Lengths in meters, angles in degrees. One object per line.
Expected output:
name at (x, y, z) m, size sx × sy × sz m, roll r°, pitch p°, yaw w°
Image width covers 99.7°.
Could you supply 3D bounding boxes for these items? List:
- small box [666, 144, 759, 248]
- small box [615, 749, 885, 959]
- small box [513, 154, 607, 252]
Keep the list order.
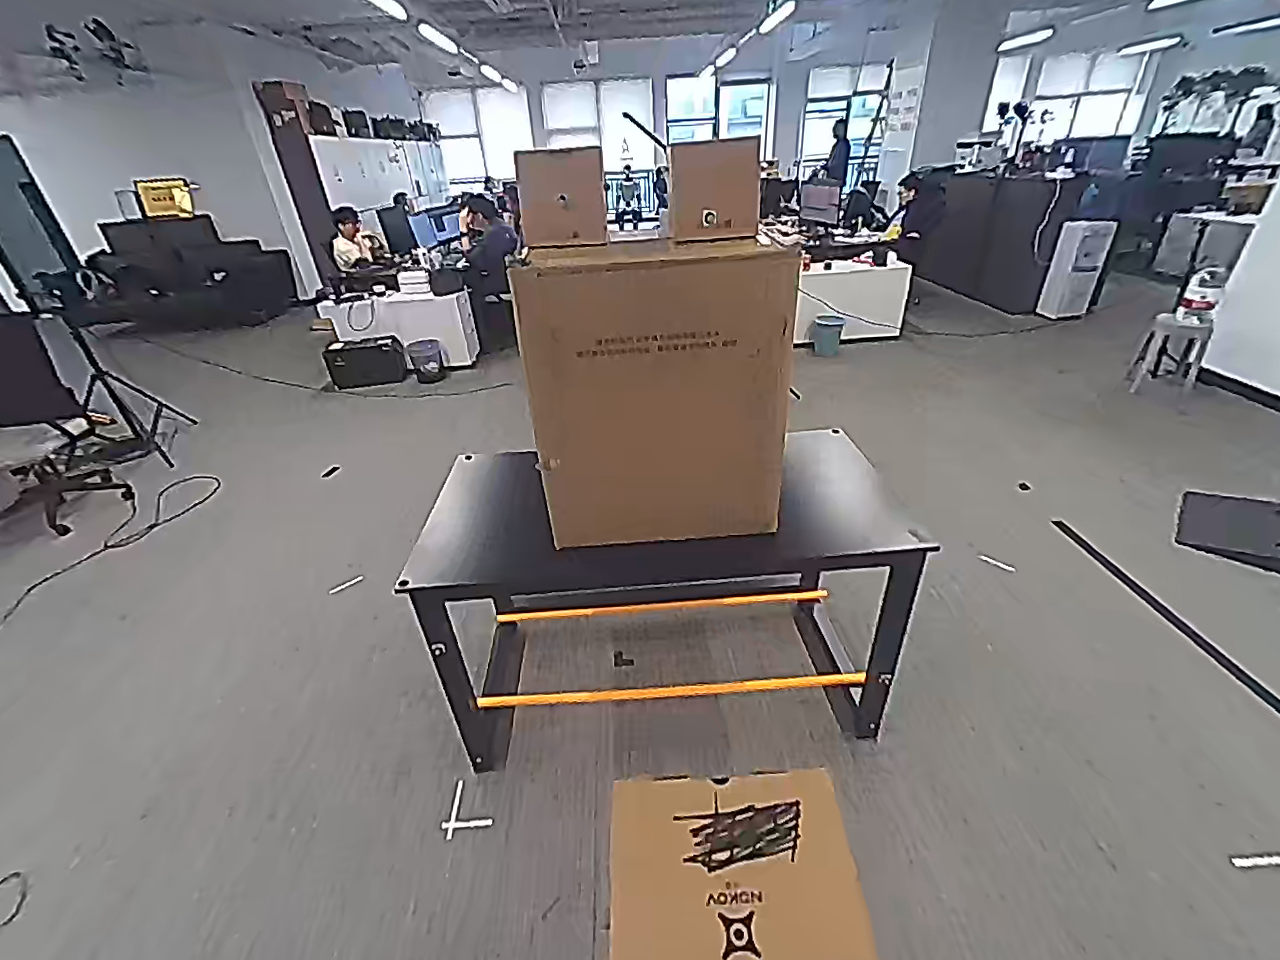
small box at (0.139, -0.568, 1.086) m, size 0.168 × 0.176 × 0.179 m, roll -5°, pitch 30°, yaw 2°
small box at (0.069, 0.332, 0.406) m, size 0.168 × 0.176 × 0.179 m, roll -5°, pitch 39°, yaw 1°
small box at (-0.156, -0.570, 1.117) m, size 0.168 × 0.176 × 0.179 m, roll -3°, pitch 31°, yaw -2°
